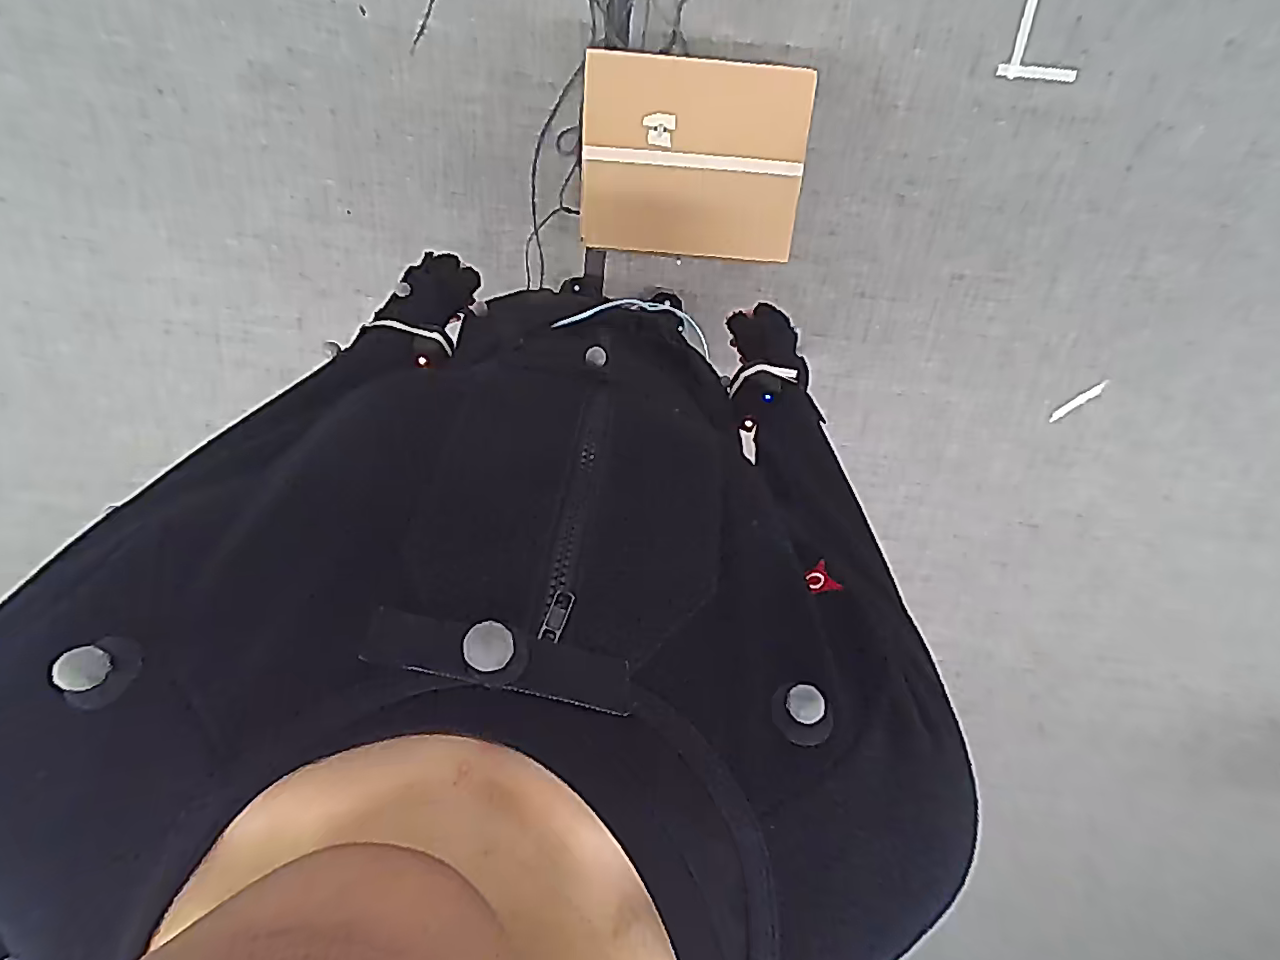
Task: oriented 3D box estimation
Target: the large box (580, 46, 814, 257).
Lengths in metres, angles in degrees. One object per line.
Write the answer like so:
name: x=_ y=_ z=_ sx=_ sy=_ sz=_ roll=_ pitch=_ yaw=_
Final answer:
large box: x=0.098 y=-0.643 z=1.122 sx=0.408 sy=0.320 sz=0.320 roll=5 pitch=111 yaw=-1
